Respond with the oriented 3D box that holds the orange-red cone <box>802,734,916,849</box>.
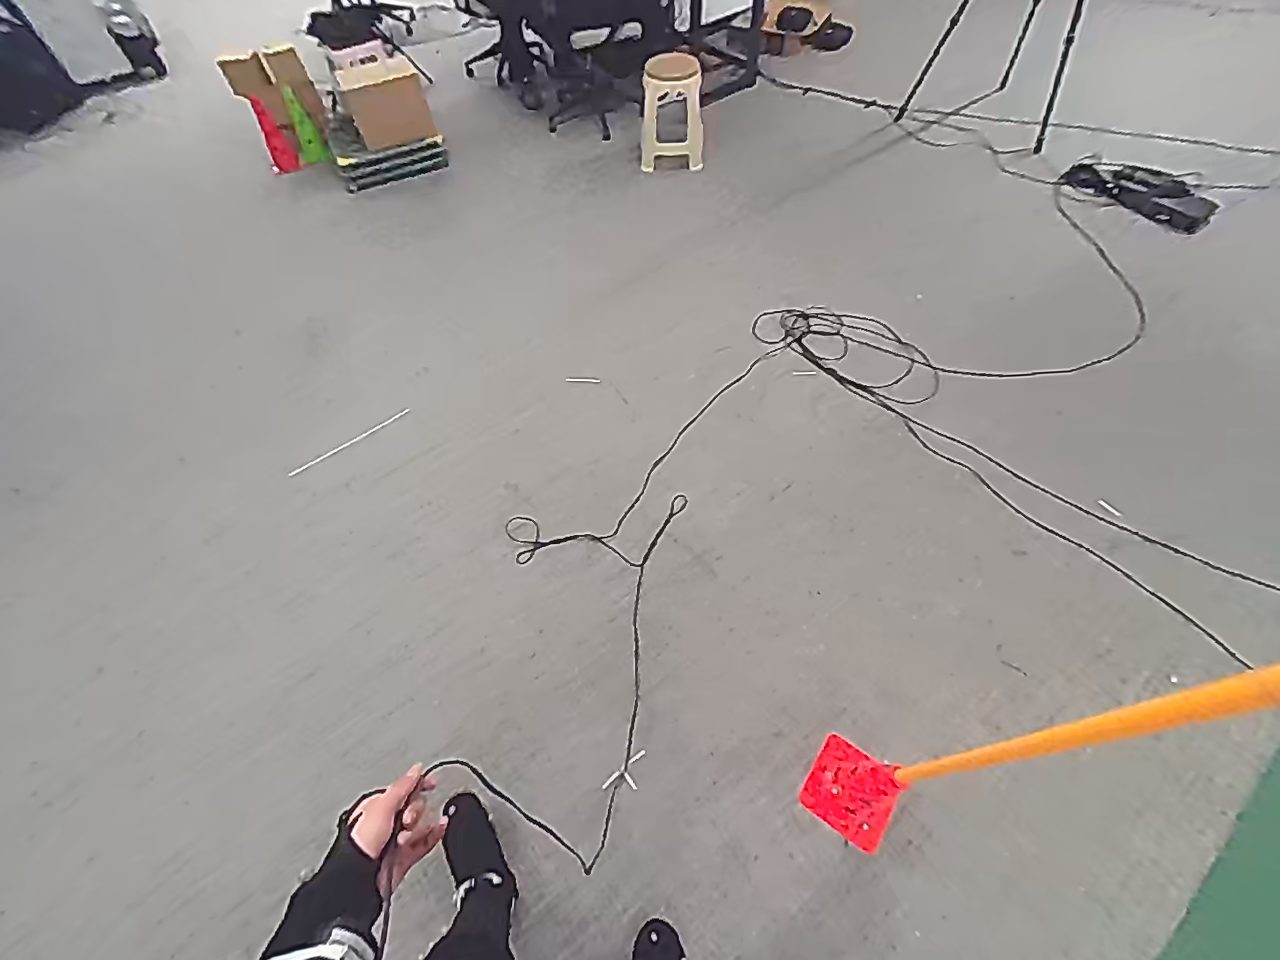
[{"bbox_3d":[0.521,0.669,1.197,0.198,0.360,0.199,32,62,20],"label":"orange-red cone"}]
